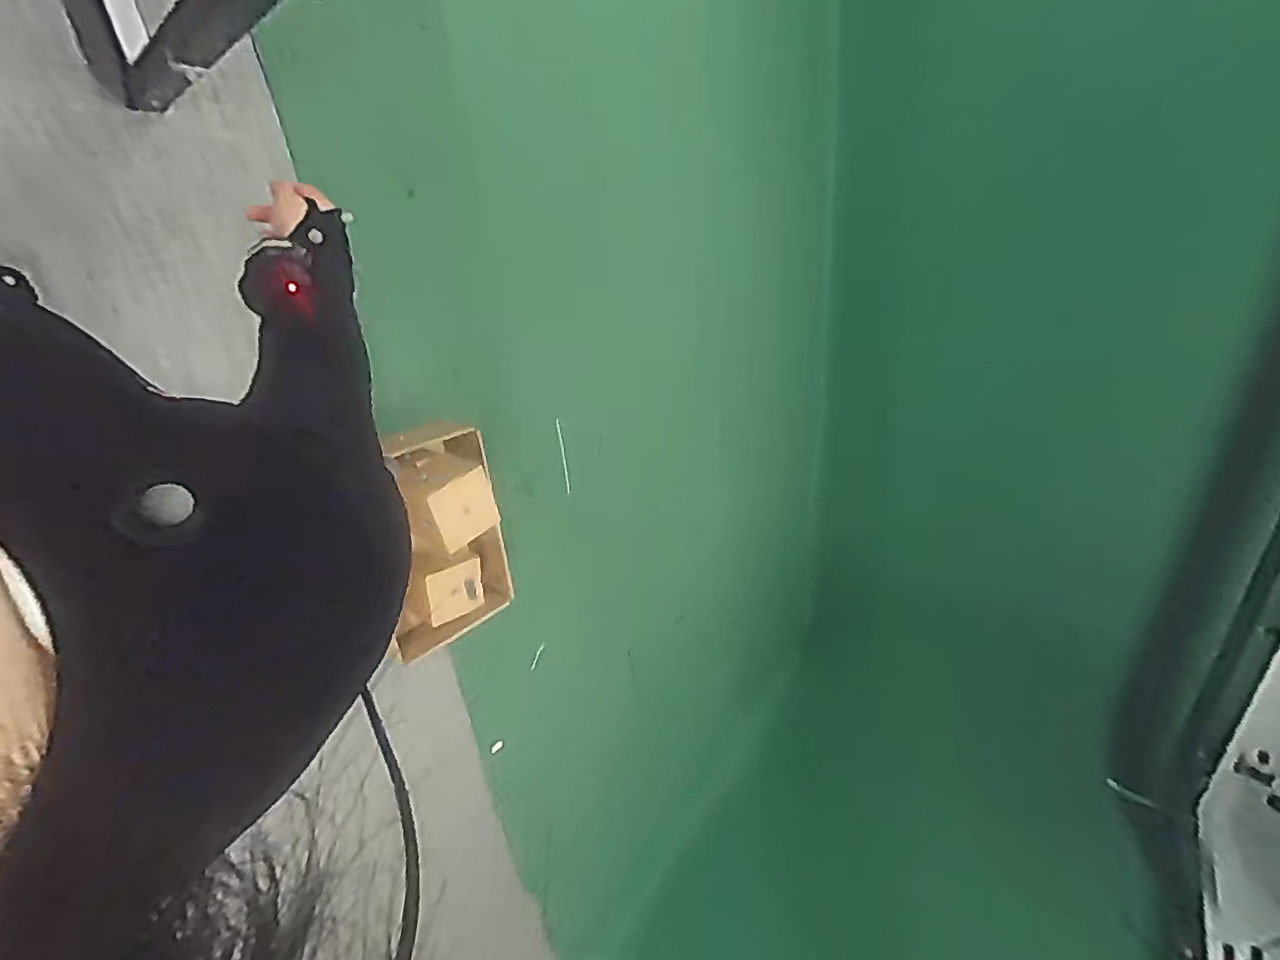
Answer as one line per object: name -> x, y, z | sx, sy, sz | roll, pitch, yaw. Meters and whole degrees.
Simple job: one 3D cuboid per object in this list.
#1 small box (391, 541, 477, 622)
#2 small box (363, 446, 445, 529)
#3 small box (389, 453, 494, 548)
small box -> -0.617, 0.293, 1.625 | 0.179, 0.176, 0.168 | -19, 116, -46
small box -> -0.639, 0.011, 1.497 | 0.168, 0.176, 0.179 | -27, 122, -44
small box -> -0.513, 0.042, 1.396 | 0.168, 0.176, 0.179 | -37, 132, -37
